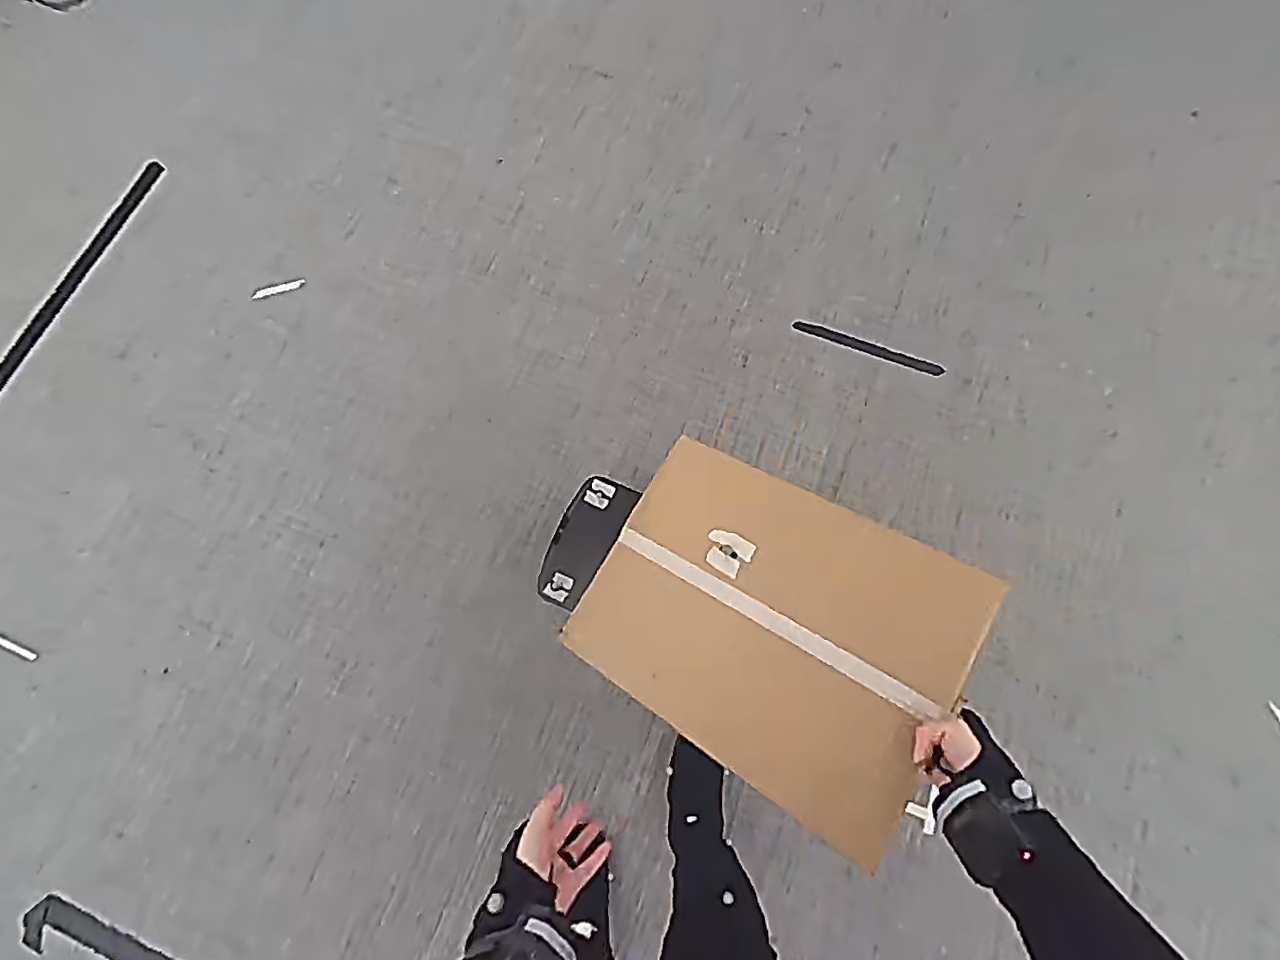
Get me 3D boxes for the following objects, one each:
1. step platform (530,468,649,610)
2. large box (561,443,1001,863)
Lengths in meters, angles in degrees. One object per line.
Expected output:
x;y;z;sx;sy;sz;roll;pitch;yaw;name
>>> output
0.117;0.244;1.135;0.684;0.204;0.286;27;78;8;step platform
0.183;0.206;0.740;0.408;0.320;0.320;26;79;27;large box
